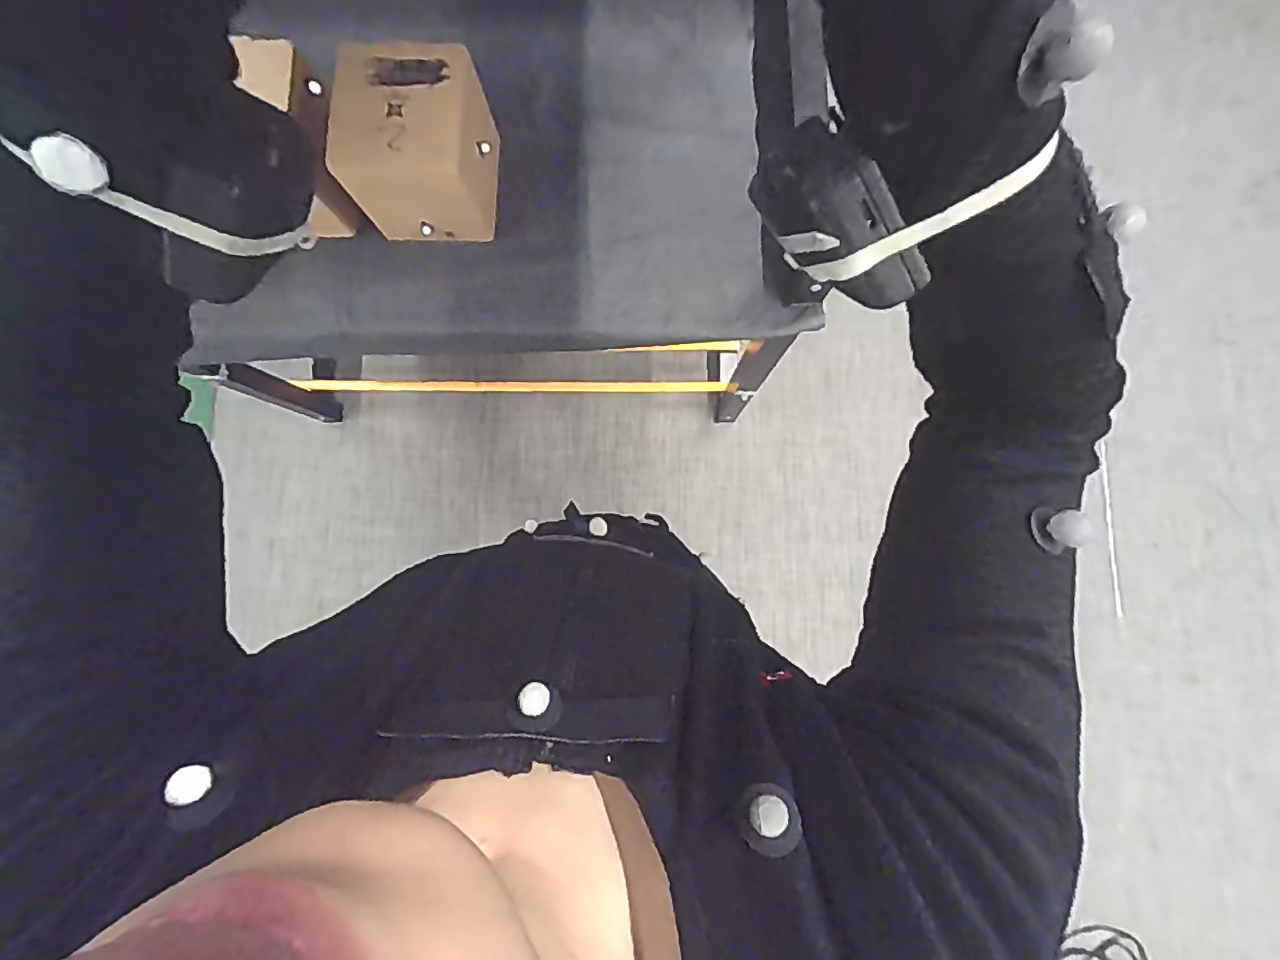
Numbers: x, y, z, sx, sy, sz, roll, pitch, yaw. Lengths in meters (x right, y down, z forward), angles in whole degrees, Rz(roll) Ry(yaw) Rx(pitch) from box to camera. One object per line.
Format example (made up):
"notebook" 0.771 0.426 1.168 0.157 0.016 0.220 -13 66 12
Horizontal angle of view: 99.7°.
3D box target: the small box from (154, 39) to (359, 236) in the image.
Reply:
"small box" -0.518 -0.465 0.757 0.168 0.176 0.179 1 83 0

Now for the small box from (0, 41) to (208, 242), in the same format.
"small box" -0.745 -0.460 0.756 0.168 0.176 0.179 -2 83 0
